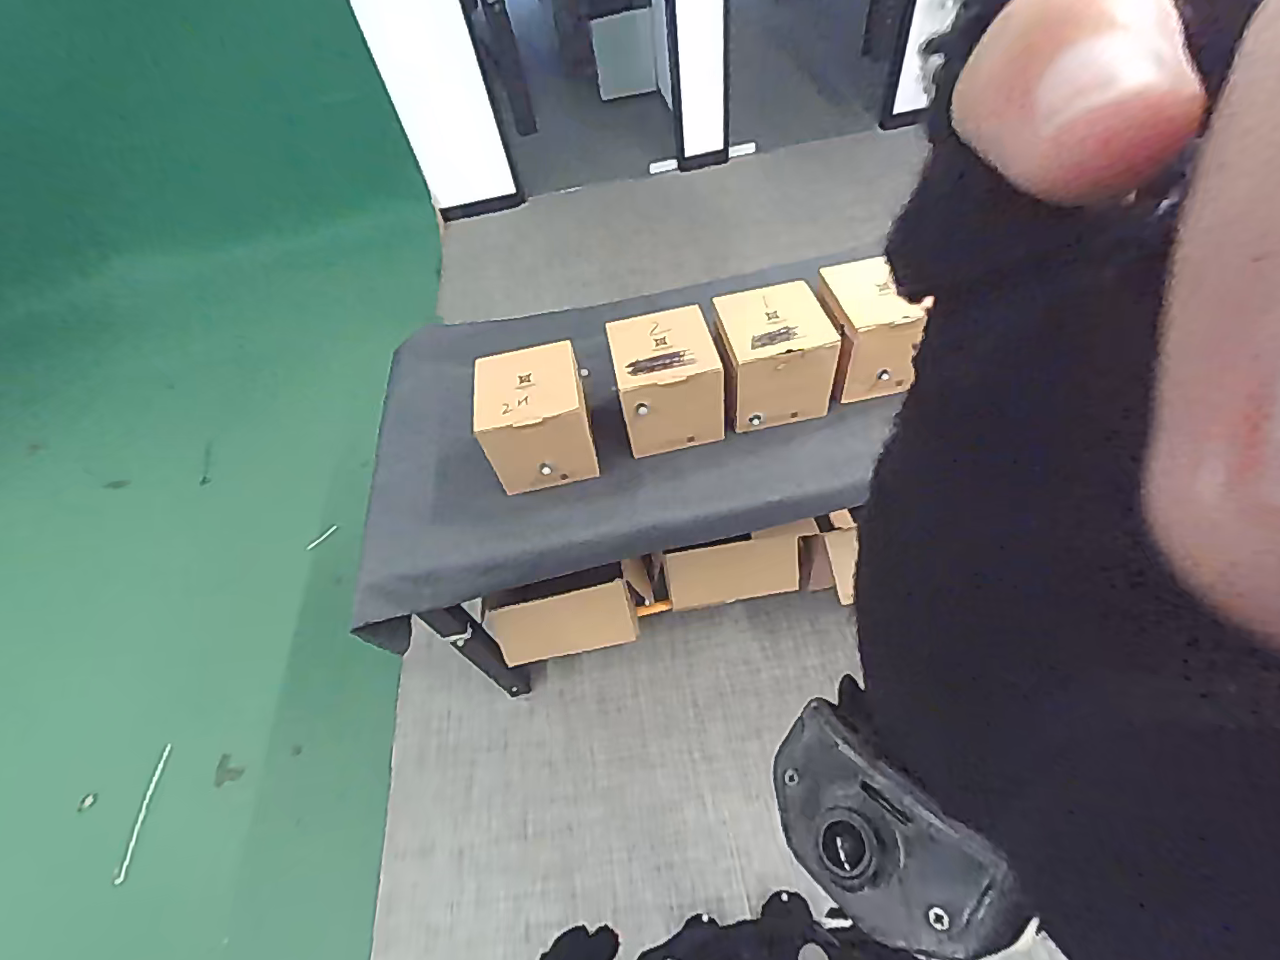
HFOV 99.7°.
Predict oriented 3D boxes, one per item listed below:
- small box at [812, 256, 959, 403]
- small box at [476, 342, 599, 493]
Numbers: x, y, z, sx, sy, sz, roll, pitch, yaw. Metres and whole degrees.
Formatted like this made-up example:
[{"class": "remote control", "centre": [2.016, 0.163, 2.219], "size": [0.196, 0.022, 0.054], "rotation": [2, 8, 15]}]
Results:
[{"class": "small box", "centre": [0.417, -0.264, 0.959], "size": [0.168, 0.176, 0.179], "rotation": [-11, 53, 0]}, {"class": "small box", "centre": [-0.170, -0.104, 0.925], "size": [0.168, 0.176, 0.179], "rotation": [-12, 52, 0]}]
